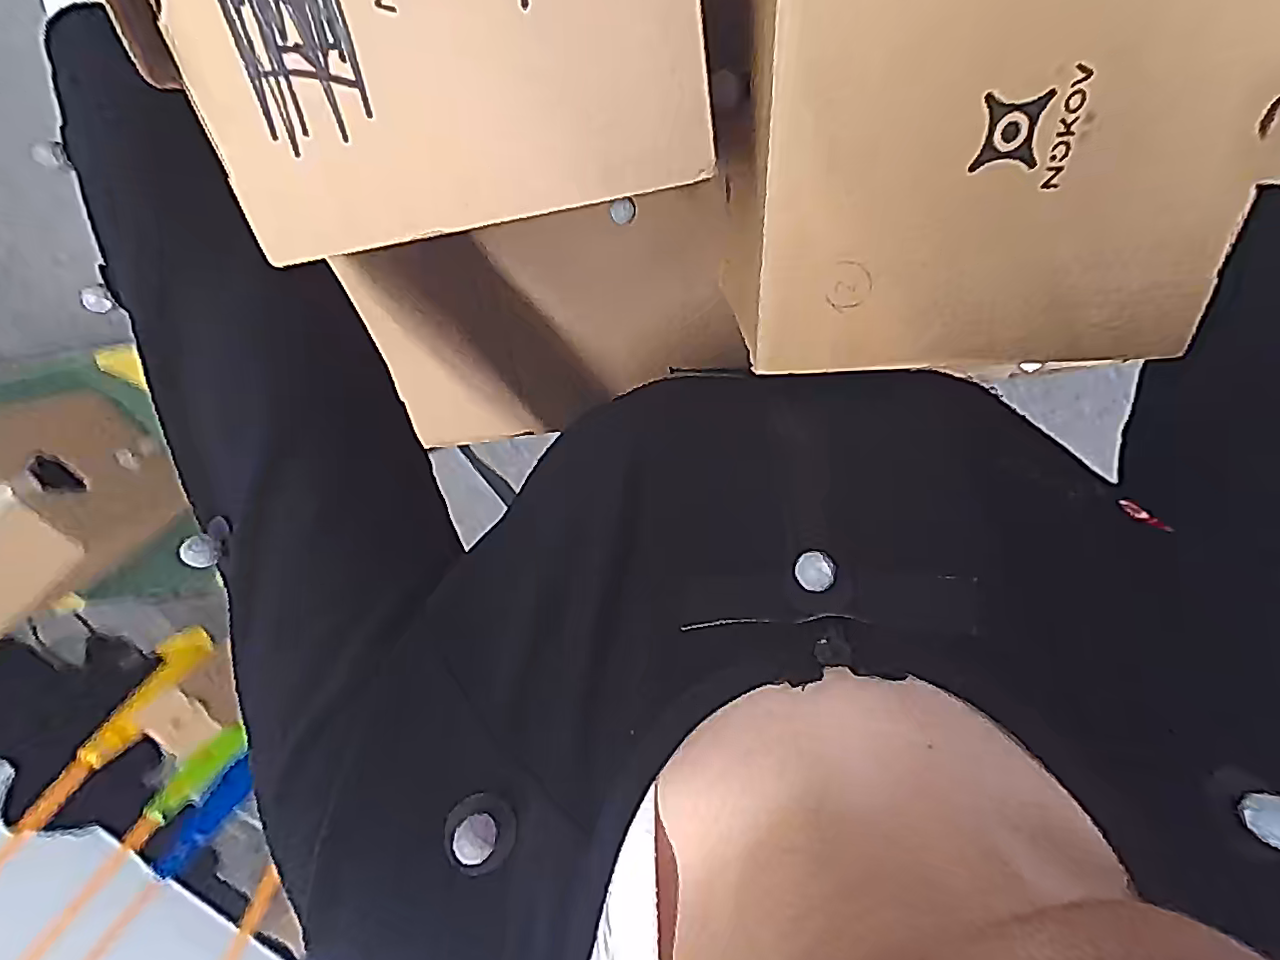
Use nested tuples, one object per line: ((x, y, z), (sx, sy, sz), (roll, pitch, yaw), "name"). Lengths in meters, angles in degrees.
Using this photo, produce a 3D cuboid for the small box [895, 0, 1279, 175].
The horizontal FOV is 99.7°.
((0.235, -0.219, 0.197), (0.179, 0.176, 0.168), (10, 127, -5), "small box")
